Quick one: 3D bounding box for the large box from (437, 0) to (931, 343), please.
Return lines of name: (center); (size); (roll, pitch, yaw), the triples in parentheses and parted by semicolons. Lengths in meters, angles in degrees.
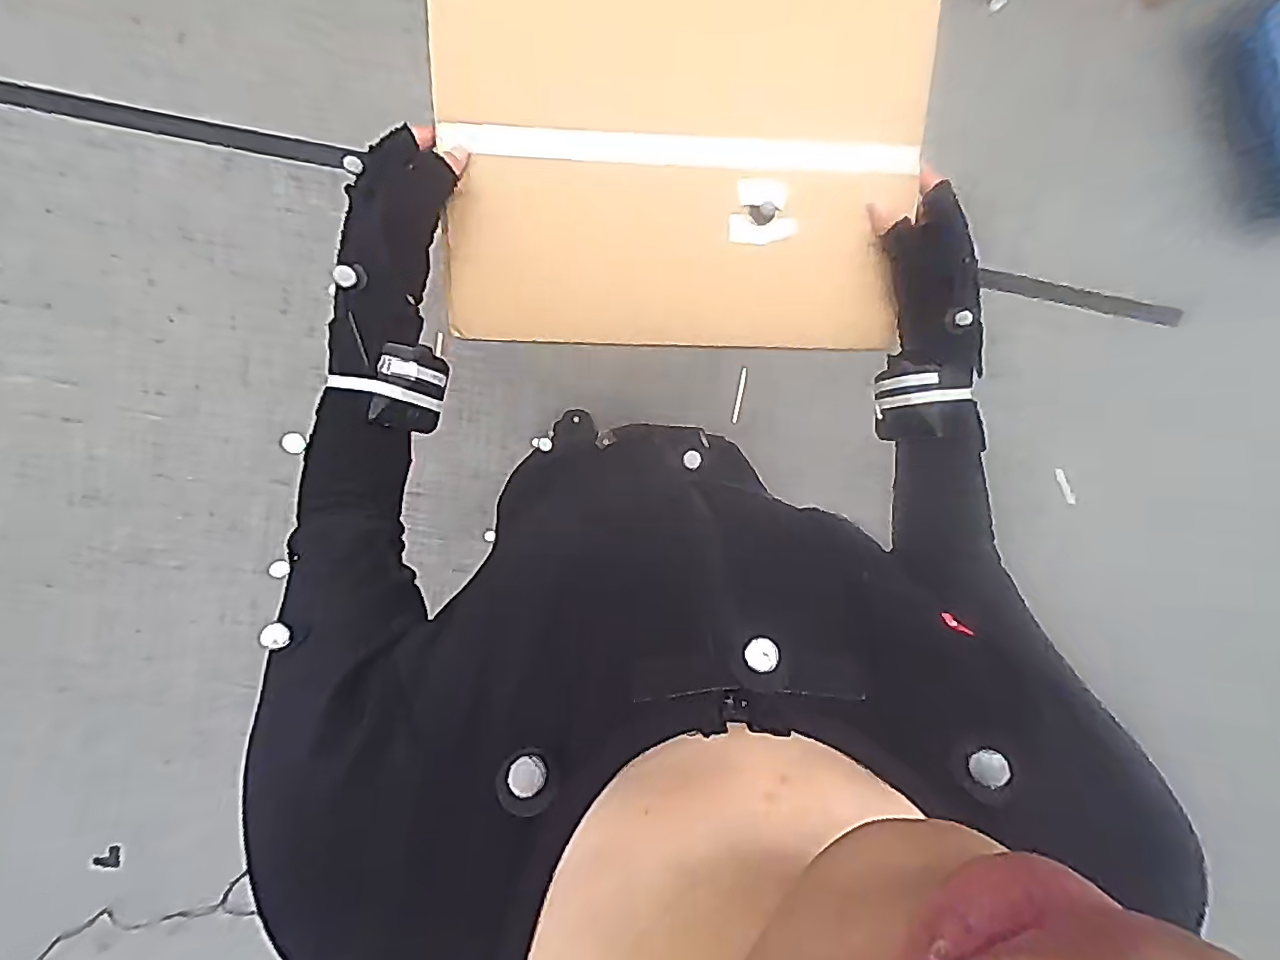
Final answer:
large box: (0.026, -0.314, 0.598); (0.408, 0.320, 0.320); (0, 105, -5)
